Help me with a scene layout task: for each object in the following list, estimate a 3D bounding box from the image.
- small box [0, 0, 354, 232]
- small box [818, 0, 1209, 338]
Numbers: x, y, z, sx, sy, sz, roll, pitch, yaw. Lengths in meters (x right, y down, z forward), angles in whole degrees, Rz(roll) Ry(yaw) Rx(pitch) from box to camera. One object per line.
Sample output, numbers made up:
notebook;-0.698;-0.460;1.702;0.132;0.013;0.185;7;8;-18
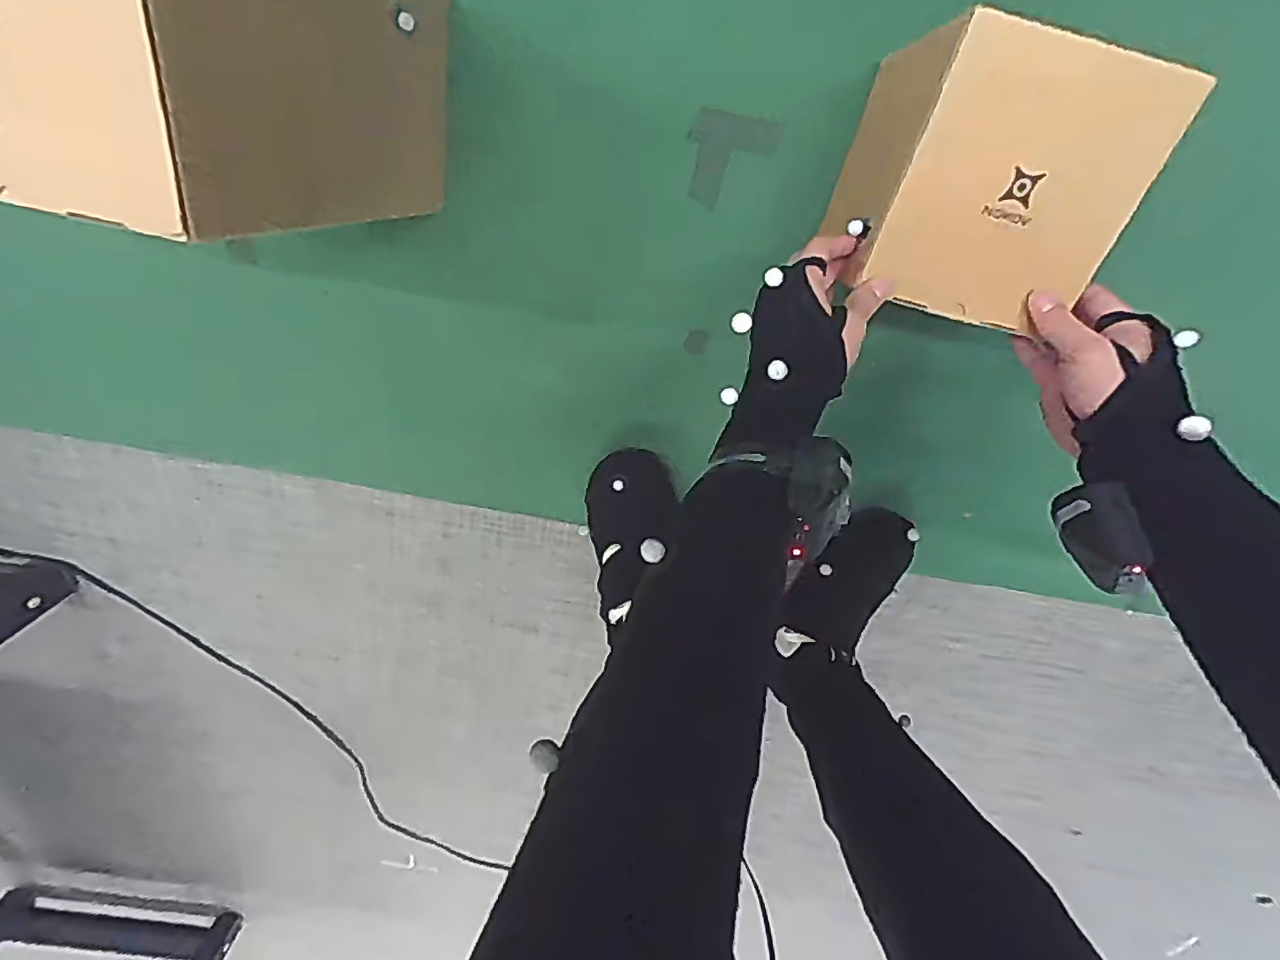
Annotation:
small box;-0.274;-0.248;0.285;0.168;0.176;0.179;13;119;-3
small box;0.266;-0.241;0.445;0.168;0.176;0.179;13;120;-4
